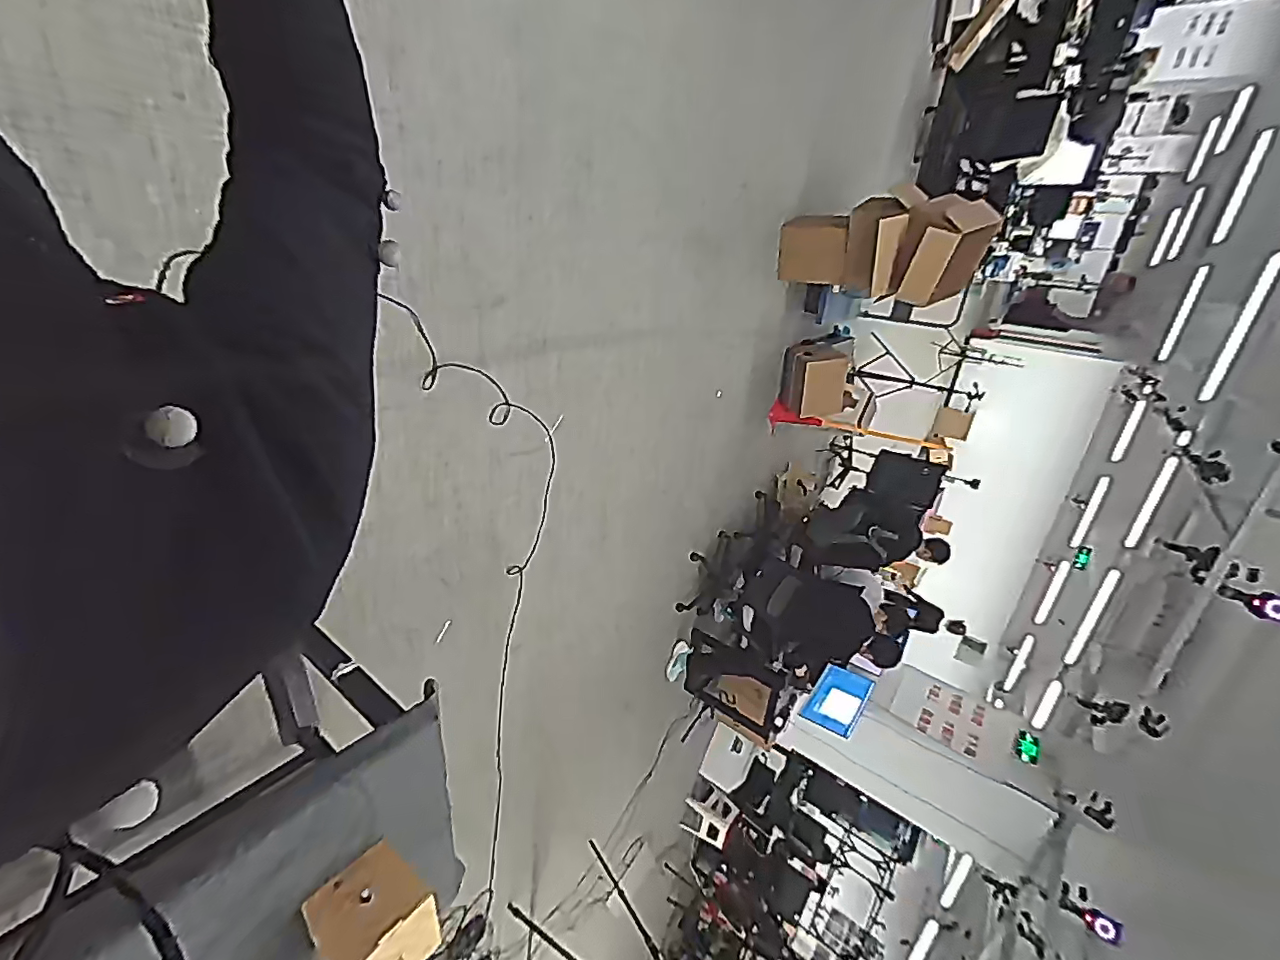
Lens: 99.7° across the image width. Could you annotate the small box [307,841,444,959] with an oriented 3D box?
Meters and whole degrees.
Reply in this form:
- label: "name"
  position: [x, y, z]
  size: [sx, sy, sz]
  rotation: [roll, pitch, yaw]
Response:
- label: "small box"
  position: [-0.500, 0.834, 1.025]
  size: [0.168, 0.176, 0.179]
  rotation: [-26, 128, -46]
